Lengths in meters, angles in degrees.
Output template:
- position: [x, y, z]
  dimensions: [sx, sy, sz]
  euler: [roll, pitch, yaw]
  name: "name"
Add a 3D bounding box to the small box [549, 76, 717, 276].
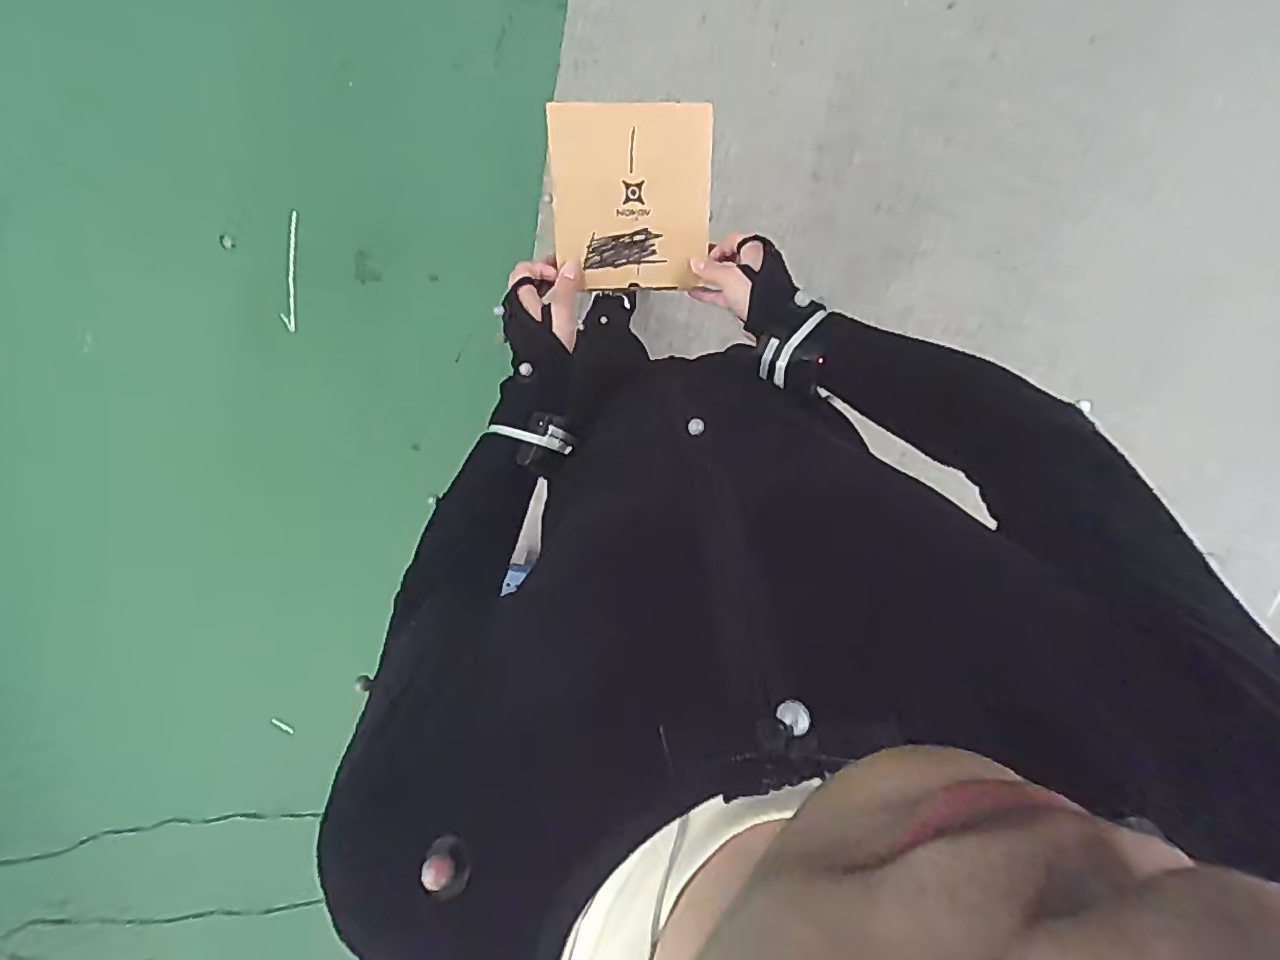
- position: [-0.014, -0.336, 0.624]
  dimensions: [0.168, 0.176, 0.179]
  euler: [-1, 113, -5]
  name: "small box"
